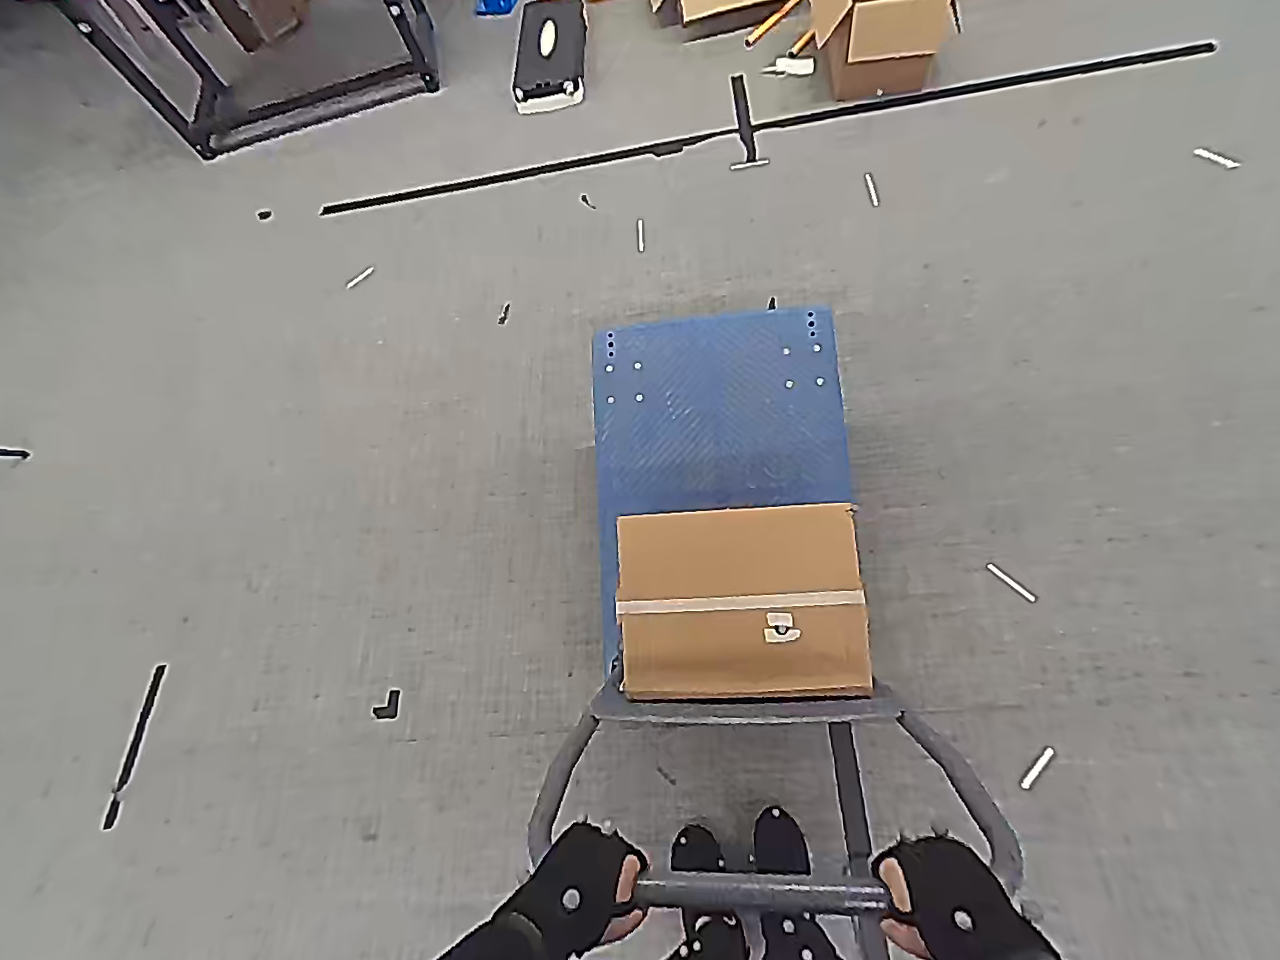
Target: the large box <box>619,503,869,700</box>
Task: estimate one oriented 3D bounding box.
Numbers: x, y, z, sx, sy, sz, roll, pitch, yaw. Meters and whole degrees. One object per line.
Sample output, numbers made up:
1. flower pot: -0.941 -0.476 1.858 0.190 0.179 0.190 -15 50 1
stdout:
1. large box: 0.186 0.232 1.076 0.408 0.320 0.320 -5 81 6
